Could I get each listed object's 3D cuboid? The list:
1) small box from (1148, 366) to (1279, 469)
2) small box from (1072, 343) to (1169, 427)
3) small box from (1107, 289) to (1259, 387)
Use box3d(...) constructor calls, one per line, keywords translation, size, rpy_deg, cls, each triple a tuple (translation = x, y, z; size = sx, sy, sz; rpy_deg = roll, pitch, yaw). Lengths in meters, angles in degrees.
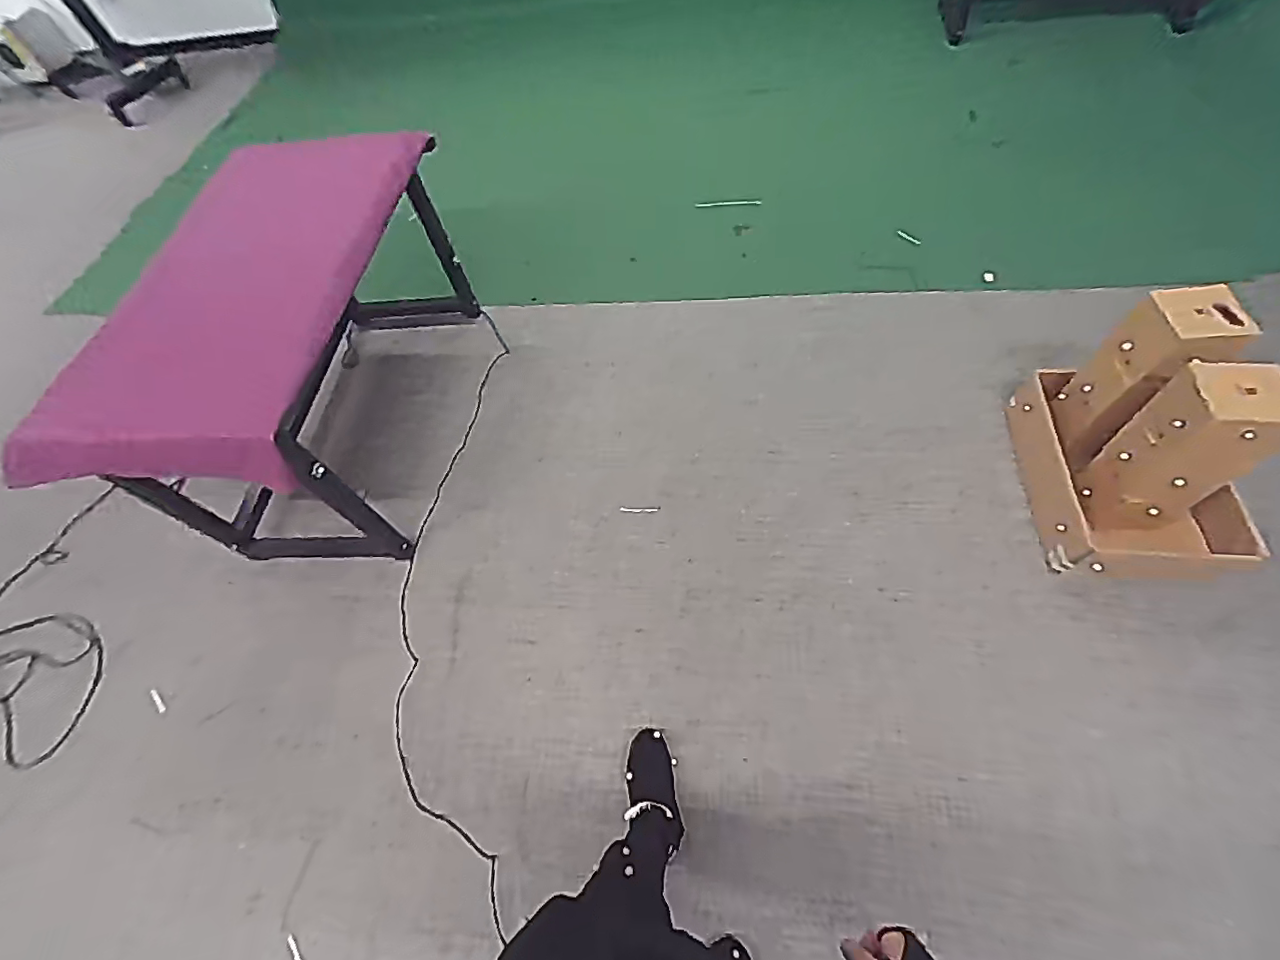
box3d(translation=(1.317, -0.140, 1.232), size=(0.179, 0.176, 0.168), rpy_deg=(4, 58, 11), cls="small box")
box3d(translation=(1.349, -0.258, 1.486), size=(0.179, 0.176, 0.168), rpy_deg=(2, 60, 8), cls="small box")
box3d(translation=(1.337, -0.349, 1.349), size=(0.179, 0.176, 0.168), rpy_deg=(-3, 60, 5), cls="small box")
